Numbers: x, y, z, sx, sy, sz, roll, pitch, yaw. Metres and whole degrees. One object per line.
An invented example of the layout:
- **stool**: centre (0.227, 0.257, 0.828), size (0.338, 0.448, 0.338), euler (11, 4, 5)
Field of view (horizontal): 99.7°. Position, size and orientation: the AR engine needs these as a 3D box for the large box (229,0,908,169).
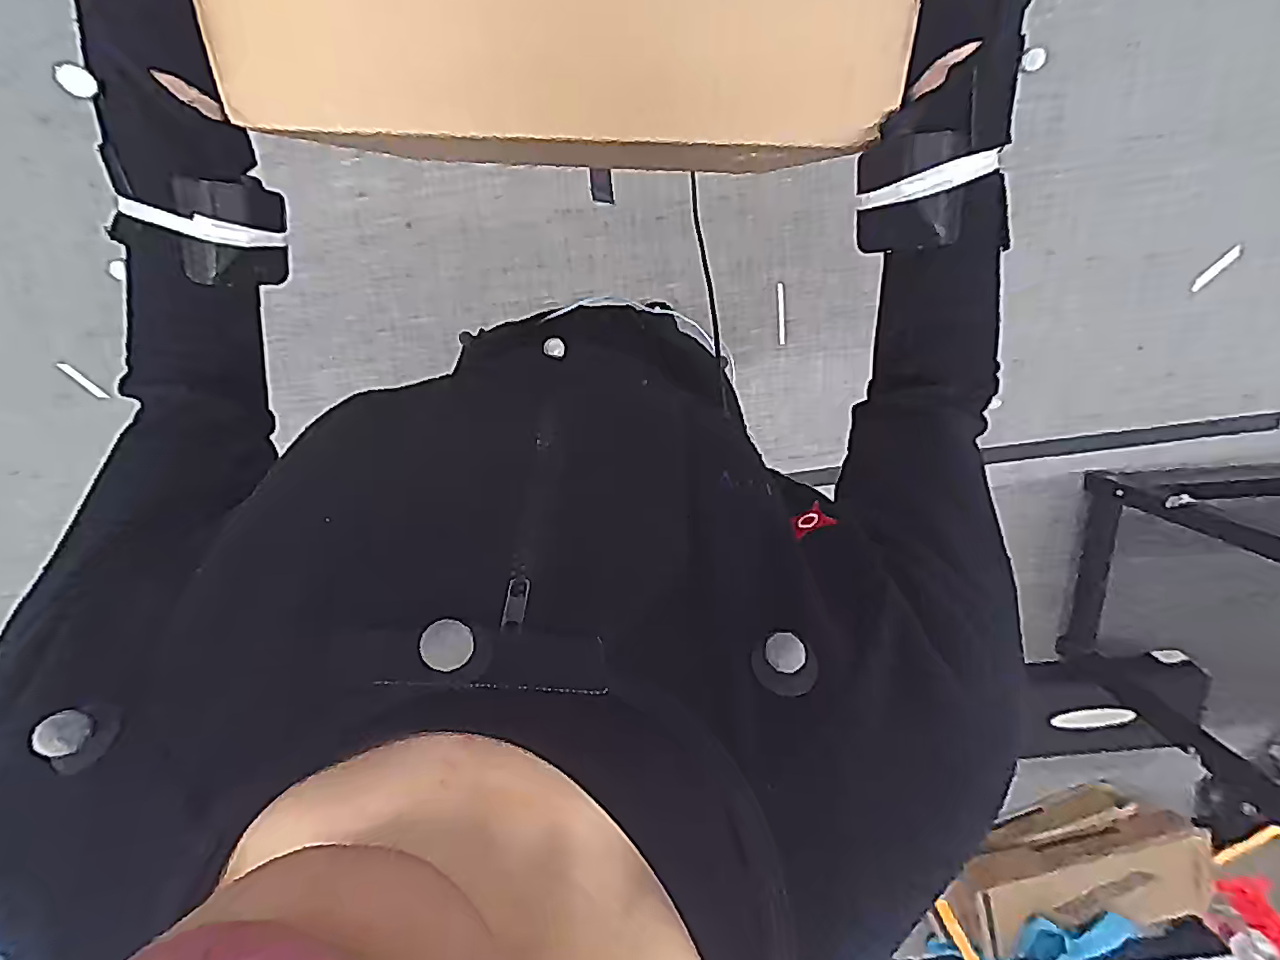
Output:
- **large box**: centre (-0.042, -0.423, 0.409), size (0.408, 0.320, 0.320), euler (1, 118, -2)
